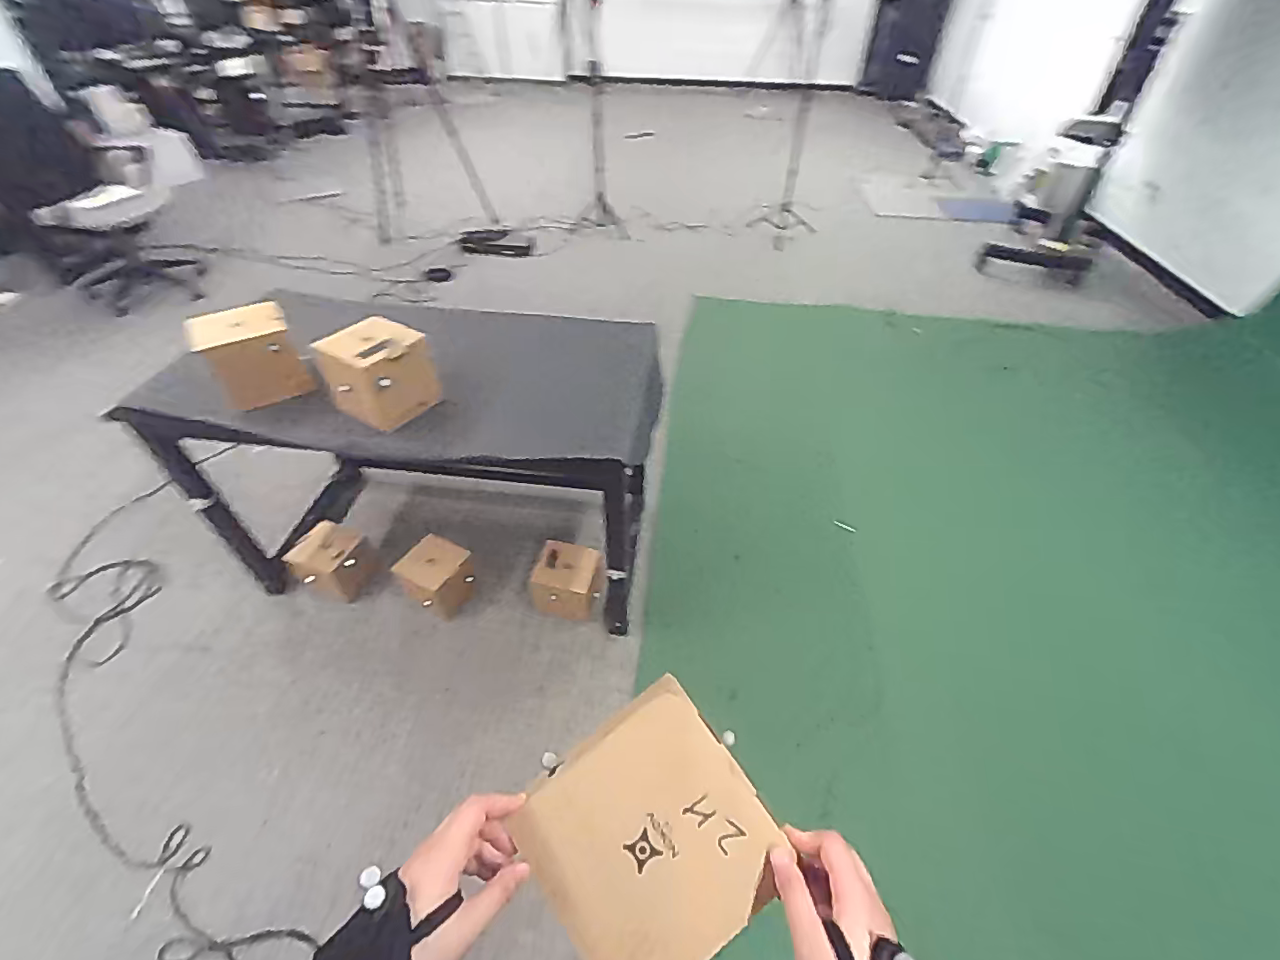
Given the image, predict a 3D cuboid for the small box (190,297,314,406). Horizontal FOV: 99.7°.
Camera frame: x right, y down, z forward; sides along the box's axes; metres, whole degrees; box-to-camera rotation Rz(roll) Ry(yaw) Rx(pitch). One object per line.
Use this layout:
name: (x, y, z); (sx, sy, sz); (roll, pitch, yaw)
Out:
small box: (-0.893, -0.297, 1.253); (0.179, 0.176, 0.168); (-25, 50, -25)

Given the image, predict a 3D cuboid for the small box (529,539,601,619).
small box: (-0.228, 0.311, 1.686); (0.179, 0.176, 0.168); (10, 45, 8)

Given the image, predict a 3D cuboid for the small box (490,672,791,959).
small box: (0.000, 0.295, 0.484); (0.179, 0.176, 0.168); (-36, 77, -11)

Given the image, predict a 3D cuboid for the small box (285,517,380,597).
small box: (-0.976, 0.250, 1.732); (0.179, 0.176, 0.168); (14, 46, 14)

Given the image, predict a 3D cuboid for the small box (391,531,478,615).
small box: (-0.634, 0.296, 1.694); (0.179, 0.176, 0.168); (20, 46, 20)
